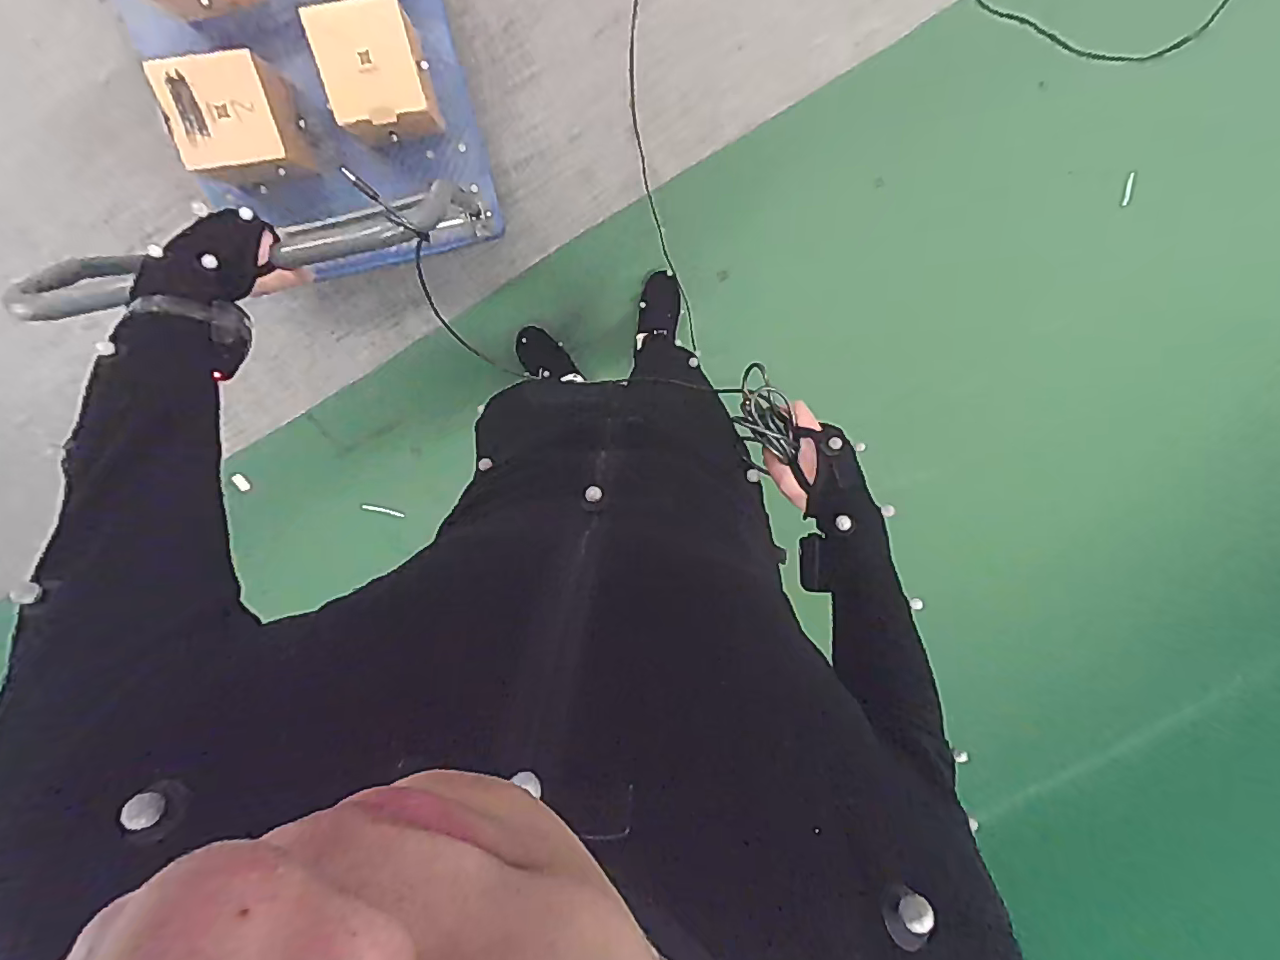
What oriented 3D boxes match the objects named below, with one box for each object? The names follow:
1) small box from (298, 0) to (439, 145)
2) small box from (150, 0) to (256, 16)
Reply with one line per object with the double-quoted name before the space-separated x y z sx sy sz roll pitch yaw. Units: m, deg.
"small box" -0.497 -0.759 1.019 0.168 0.176 0.179 -14 114 -4
"small box" -0.788 -0.920 0.902 0.168 0.176 0.179 -18 113 -3
